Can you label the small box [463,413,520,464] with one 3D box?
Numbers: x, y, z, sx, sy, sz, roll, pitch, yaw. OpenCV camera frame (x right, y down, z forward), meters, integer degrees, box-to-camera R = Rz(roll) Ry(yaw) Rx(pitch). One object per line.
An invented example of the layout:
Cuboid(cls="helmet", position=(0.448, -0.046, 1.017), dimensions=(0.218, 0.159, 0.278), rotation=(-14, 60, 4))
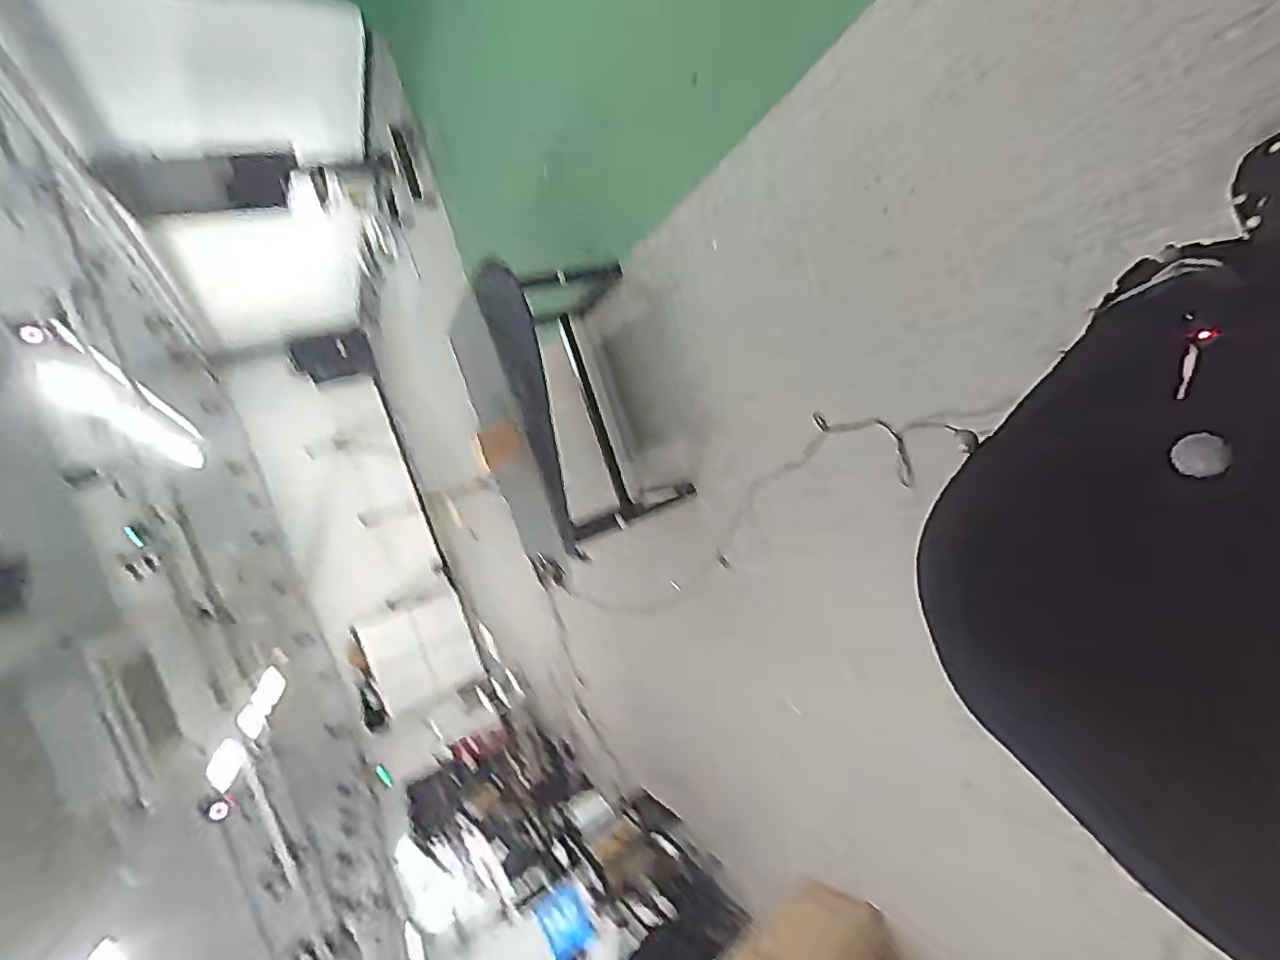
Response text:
Cuboid(cls="small box", position=(-0.639, -0.183, 2.331), dimensions=(0.168, 0.176, 0.179), rotation=(-7, 103, 61))
